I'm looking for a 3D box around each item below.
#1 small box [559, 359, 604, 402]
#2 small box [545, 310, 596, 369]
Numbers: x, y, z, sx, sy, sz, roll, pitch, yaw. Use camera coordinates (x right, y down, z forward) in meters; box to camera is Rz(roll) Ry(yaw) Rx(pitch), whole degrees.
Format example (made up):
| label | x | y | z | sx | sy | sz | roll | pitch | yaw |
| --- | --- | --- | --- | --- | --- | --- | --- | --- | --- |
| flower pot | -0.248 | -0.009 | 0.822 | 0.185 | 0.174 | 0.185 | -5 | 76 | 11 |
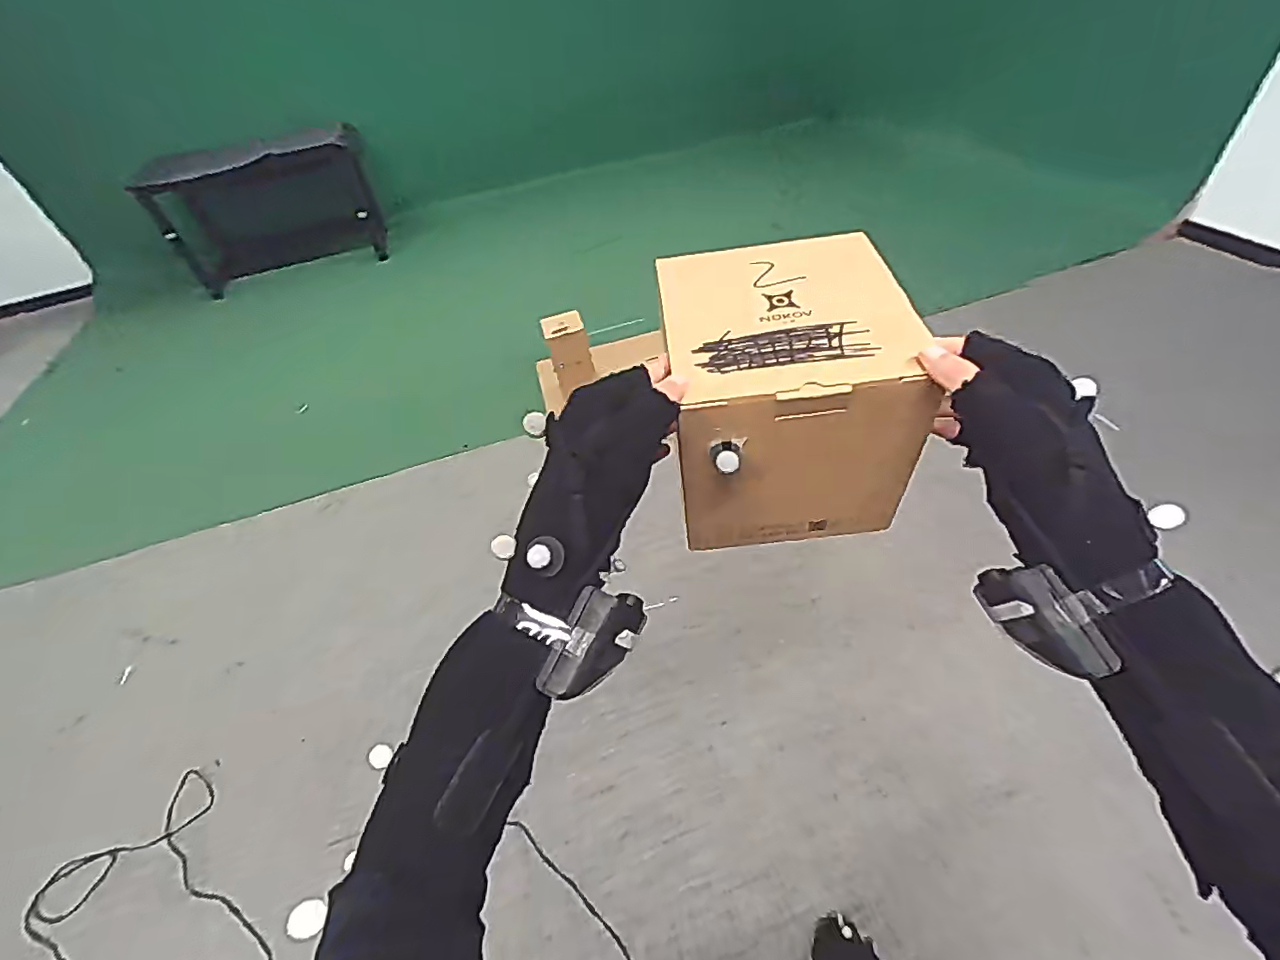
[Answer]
| label | x | y | z | sx | sy | sz | roll | pitch | yaw |
| --- | --- | --- | --- | --- | --- | --- | --- | --- | --- |
| small box | -0.270 | -0.477 | 2.419 | 0.168 | 0.176 | 0.179 | -18 | 46 | -5 |
| small box | -0.295 | -0.590 | 2.302 | 0.168 | 0.176 | 0.179 | -16 | 45 | -4 |
